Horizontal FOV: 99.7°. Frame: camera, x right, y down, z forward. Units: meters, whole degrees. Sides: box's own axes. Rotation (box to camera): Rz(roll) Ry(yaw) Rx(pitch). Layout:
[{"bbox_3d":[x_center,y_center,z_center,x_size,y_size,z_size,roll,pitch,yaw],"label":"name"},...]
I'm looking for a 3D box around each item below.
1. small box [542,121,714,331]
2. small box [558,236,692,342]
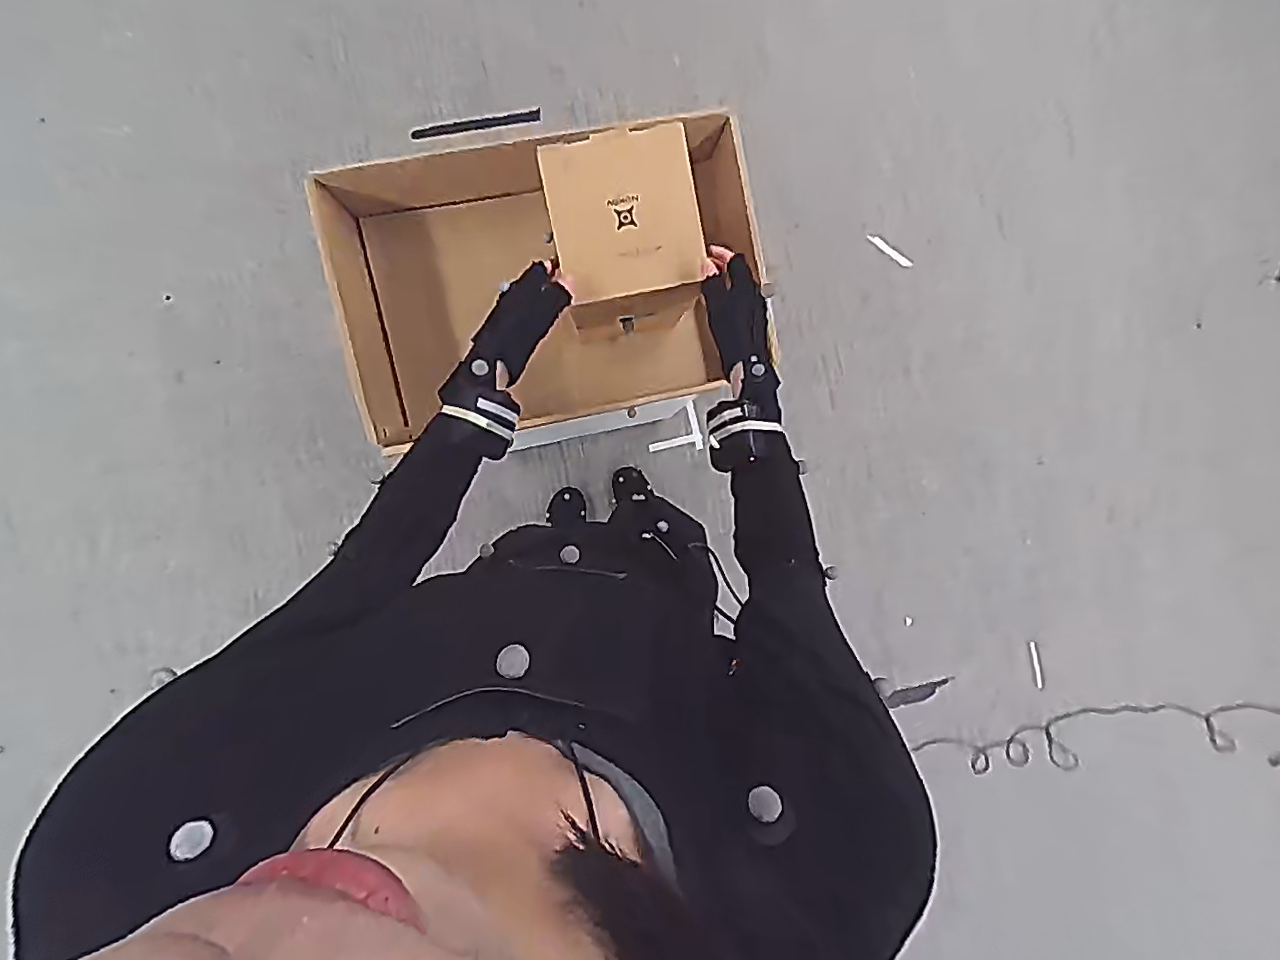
[{"bbox_3d":[-0.017,-0.301,0.677,0.168,0.176,0.179,-12,96,-1],"label":"small box"},{"bbox_3d":[-0.028,-0.322,0.839,0.179,0.176,0.168,-12,95,-3],"label":"small box"}]
